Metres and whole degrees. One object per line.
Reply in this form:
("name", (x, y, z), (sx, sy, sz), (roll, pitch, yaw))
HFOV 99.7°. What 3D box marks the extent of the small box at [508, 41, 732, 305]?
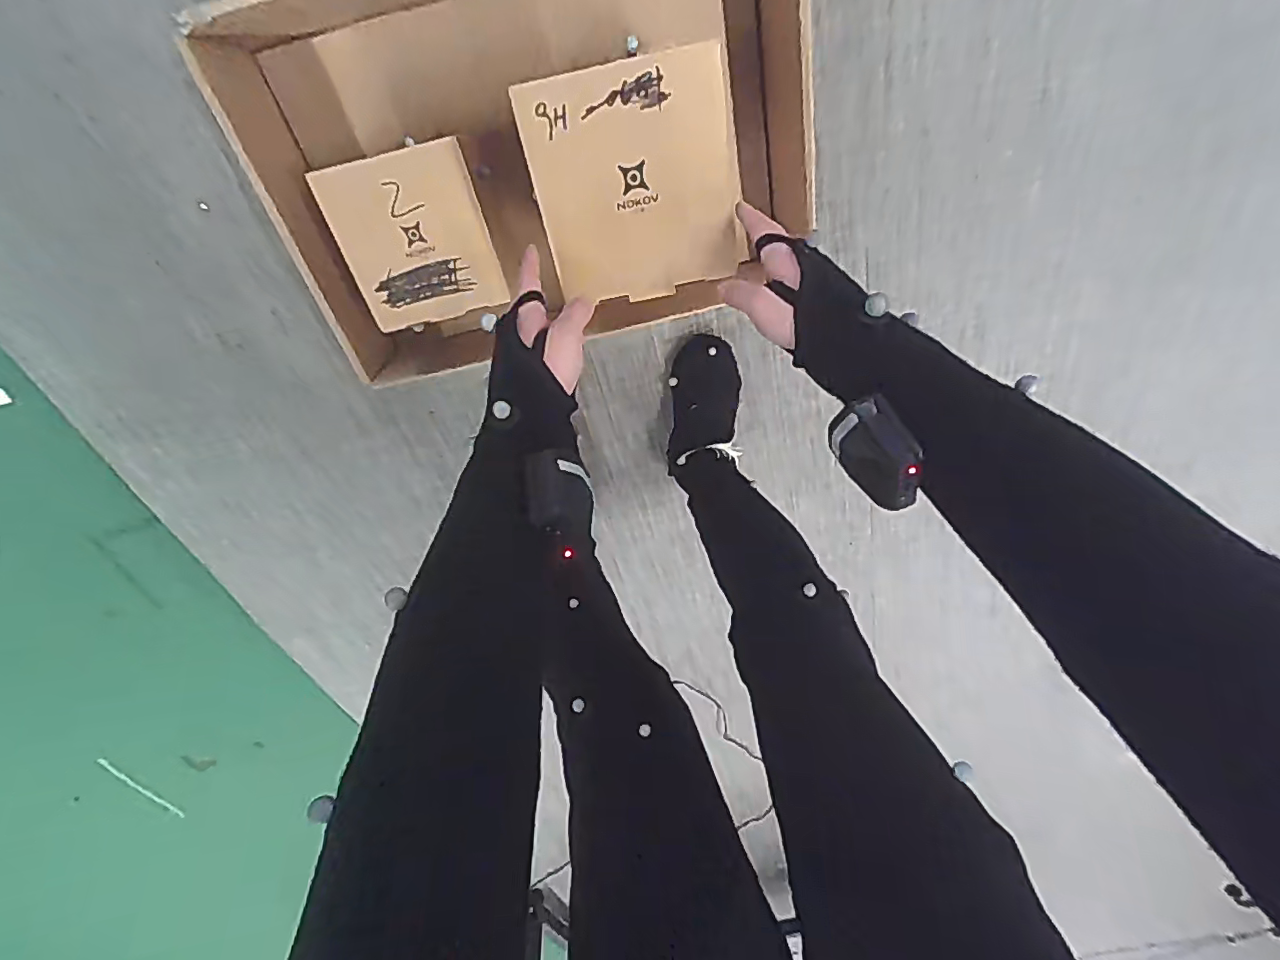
("small box", (-0.011, -0.294, 0.521), (0.168, 0.176, 0.179), (-11, 125, 3))
